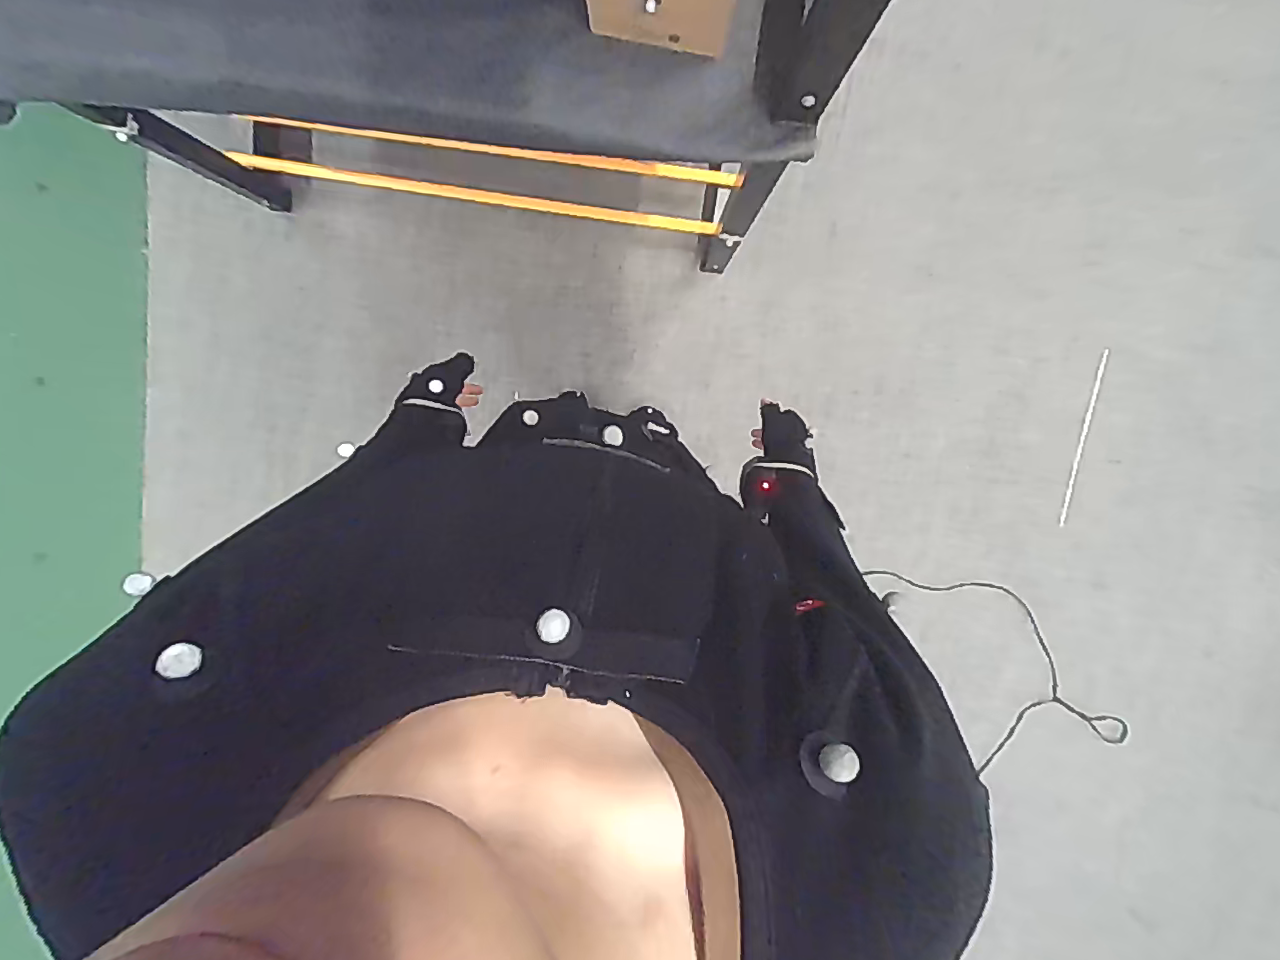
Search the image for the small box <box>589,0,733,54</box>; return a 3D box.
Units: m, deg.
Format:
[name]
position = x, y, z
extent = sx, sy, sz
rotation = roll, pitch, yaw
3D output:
[small box]
position = 0.034, -0.603, 0.572
extent = 0.168, 0.176, 0.179
rotation = 11, 98, -2
